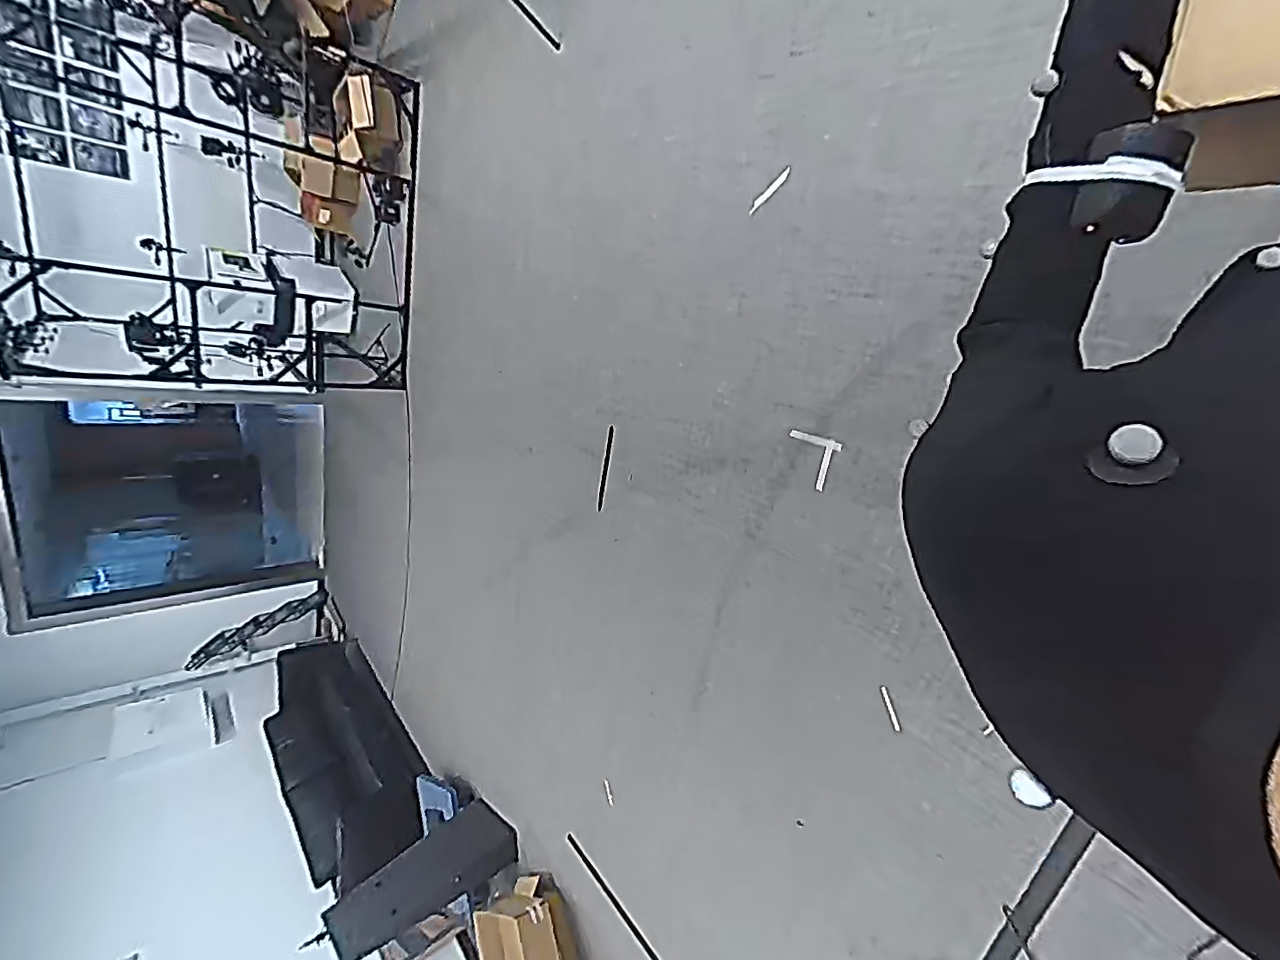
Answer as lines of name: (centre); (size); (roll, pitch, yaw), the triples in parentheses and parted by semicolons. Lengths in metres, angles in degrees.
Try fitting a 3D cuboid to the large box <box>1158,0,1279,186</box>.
large box: (0.603, -0.386, 0.295); (0.408, 0.320, 0.320); (19, 114, 43)
